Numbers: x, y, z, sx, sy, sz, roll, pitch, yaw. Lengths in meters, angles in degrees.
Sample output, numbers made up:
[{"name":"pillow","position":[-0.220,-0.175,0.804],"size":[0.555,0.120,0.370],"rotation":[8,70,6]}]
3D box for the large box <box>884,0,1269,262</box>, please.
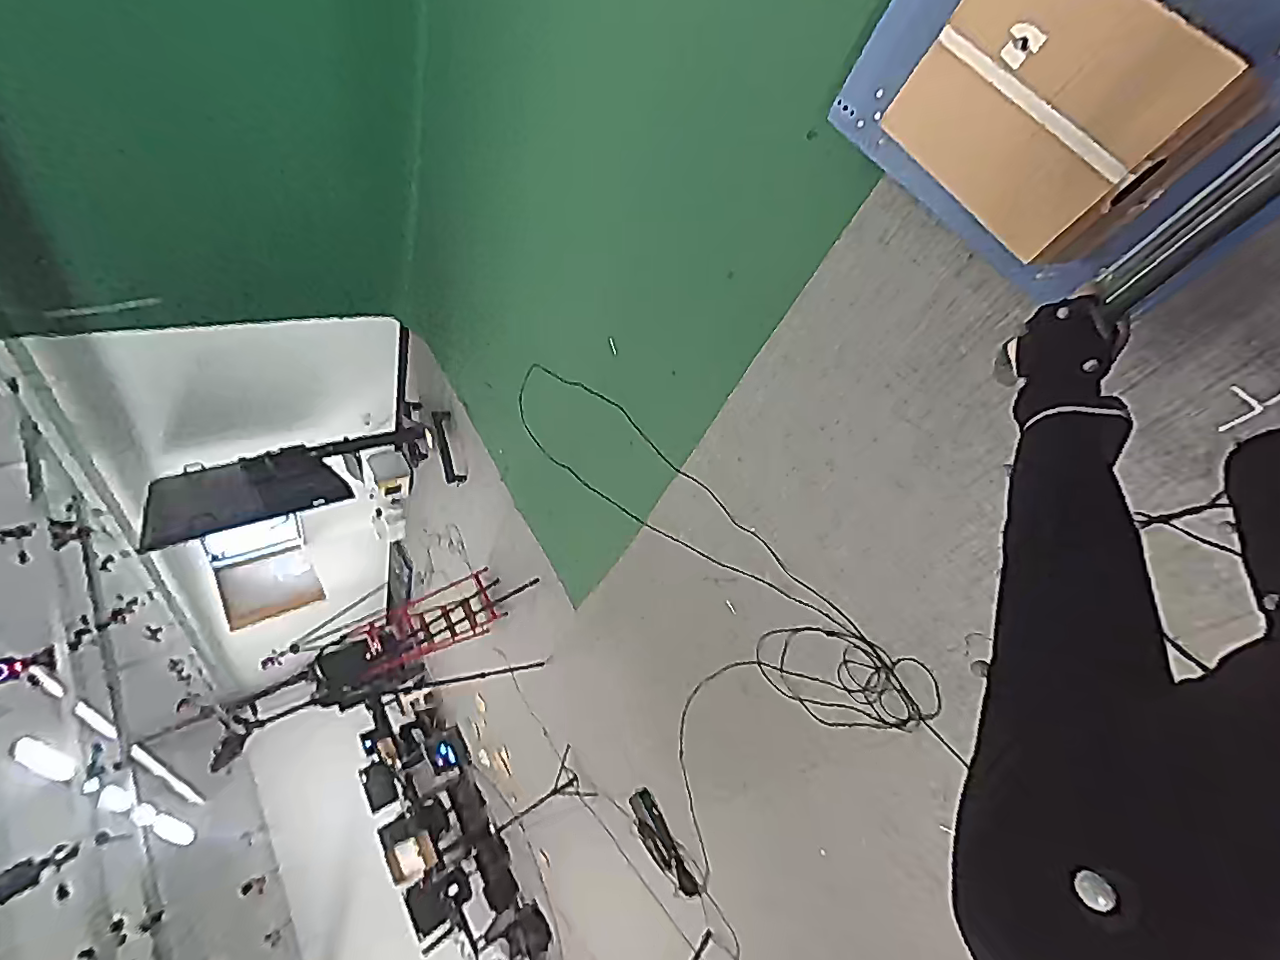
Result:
[{"name":"large box","position":[0.747,-0.647,0.961],"size":[0.408,0.320,0.320],"rotation":[59,142,18]}]
